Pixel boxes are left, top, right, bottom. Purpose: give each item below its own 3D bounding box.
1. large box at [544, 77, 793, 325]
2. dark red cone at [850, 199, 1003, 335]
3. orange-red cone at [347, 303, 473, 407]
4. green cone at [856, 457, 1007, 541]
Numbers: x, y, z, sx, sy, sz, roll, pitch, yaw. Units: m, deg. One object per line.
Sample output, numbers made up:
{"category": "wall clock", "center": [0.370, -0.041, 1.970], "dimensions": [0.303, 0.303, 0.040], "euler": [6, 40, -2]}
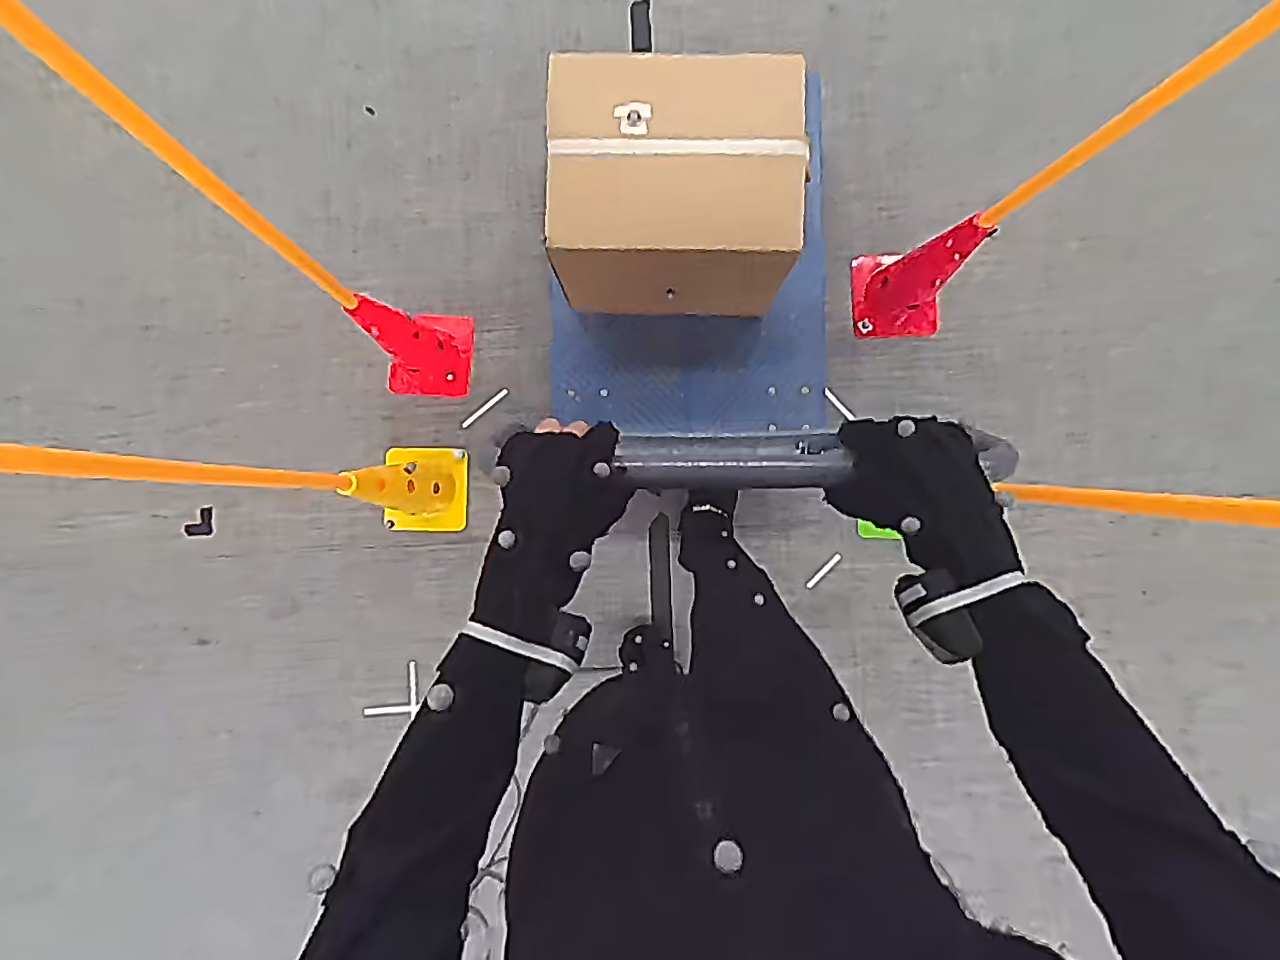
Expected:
{"category": "large box", "center": [0.051, -0.486, 1.013], "dimensions": [0.408, 0.320, 0.320], "euler": [1, 88, 2]}
{"category": "dark red cone", "center": [0.604, -0.450, 1.120], "dimensions": [0.201, 0.394, 0.202], "euler": [-3, 87, 0]}
{"category": "orange-red cone", "center": [-0.519, -0.297, 1.165], "dimensions": [0.198, 0.360, 0.199], "euler": [4, 86, 1]}
{"category": "green cone", "center": [0.611, 0.035, 1.111], "dimensions": [0.202, 0.368, 0.200], "euler": [1, 87, 0]}
